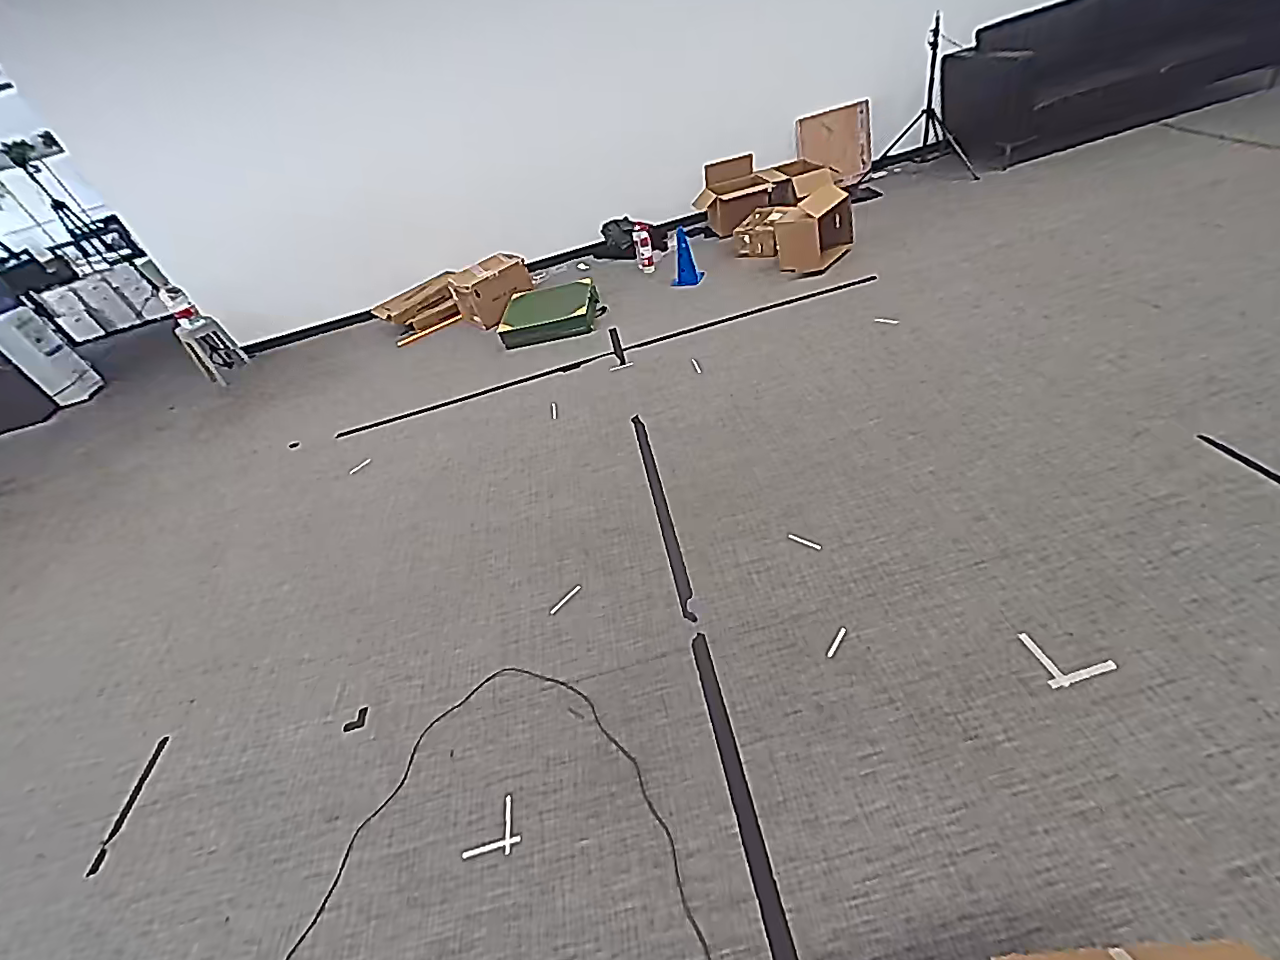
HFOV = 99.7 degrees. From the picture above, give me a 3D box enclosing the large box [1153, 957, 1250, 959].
[{"bbox_3d":[0.613,0.746,0.487,0.320,0.408,0.320,-12,79,9],"label":"large box"}]
